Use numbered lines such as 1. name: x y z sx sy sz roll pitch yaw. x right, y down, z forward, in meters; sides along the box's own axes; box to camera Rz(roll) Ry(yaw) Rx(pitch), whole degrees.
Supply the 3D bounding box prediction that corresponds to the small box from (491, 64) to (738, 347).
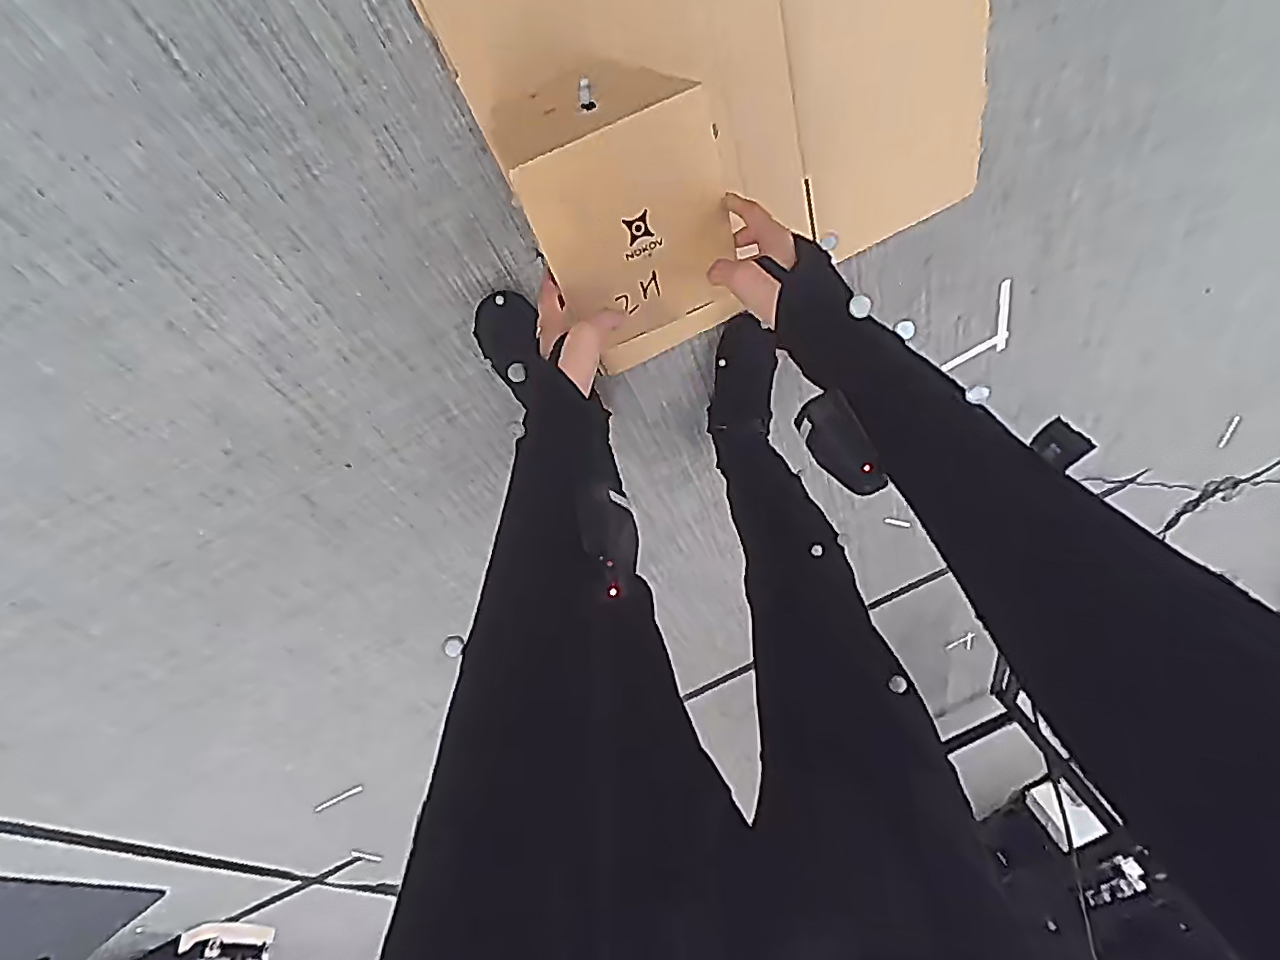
1. small box: -0.027 -0.265 0.515 0.168 0.176 0.179 -24 134 0
